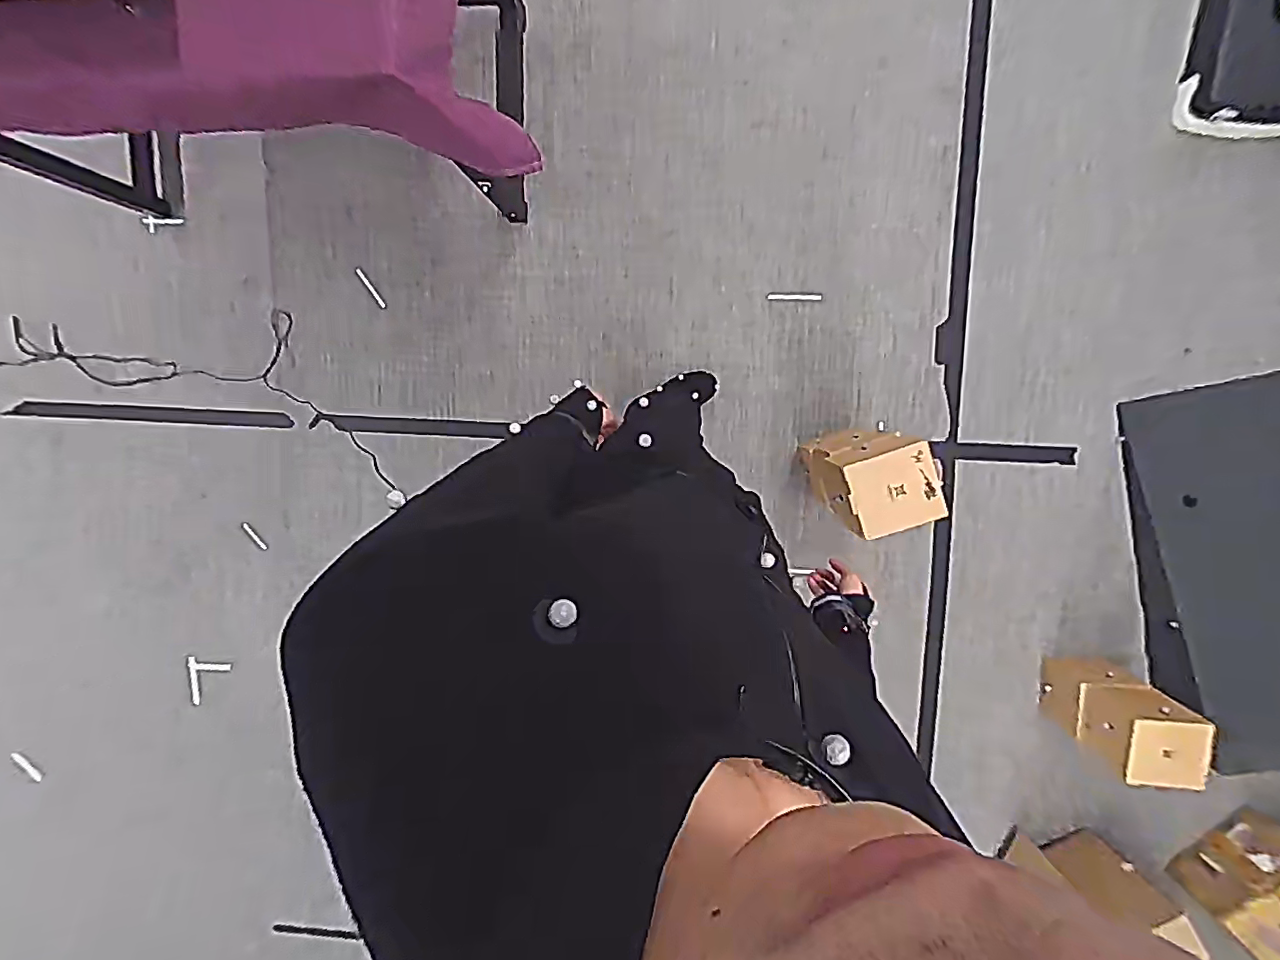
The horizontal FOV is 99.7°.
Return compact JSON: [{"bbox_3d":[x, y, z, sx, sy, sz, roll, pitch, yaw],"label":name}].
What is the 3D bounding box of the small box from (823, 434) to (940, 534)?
[{"bbox_3d":[0.517,0.004,1.188,0.179,0.176,0.168,-18,96,8],"label":"small box"}]
